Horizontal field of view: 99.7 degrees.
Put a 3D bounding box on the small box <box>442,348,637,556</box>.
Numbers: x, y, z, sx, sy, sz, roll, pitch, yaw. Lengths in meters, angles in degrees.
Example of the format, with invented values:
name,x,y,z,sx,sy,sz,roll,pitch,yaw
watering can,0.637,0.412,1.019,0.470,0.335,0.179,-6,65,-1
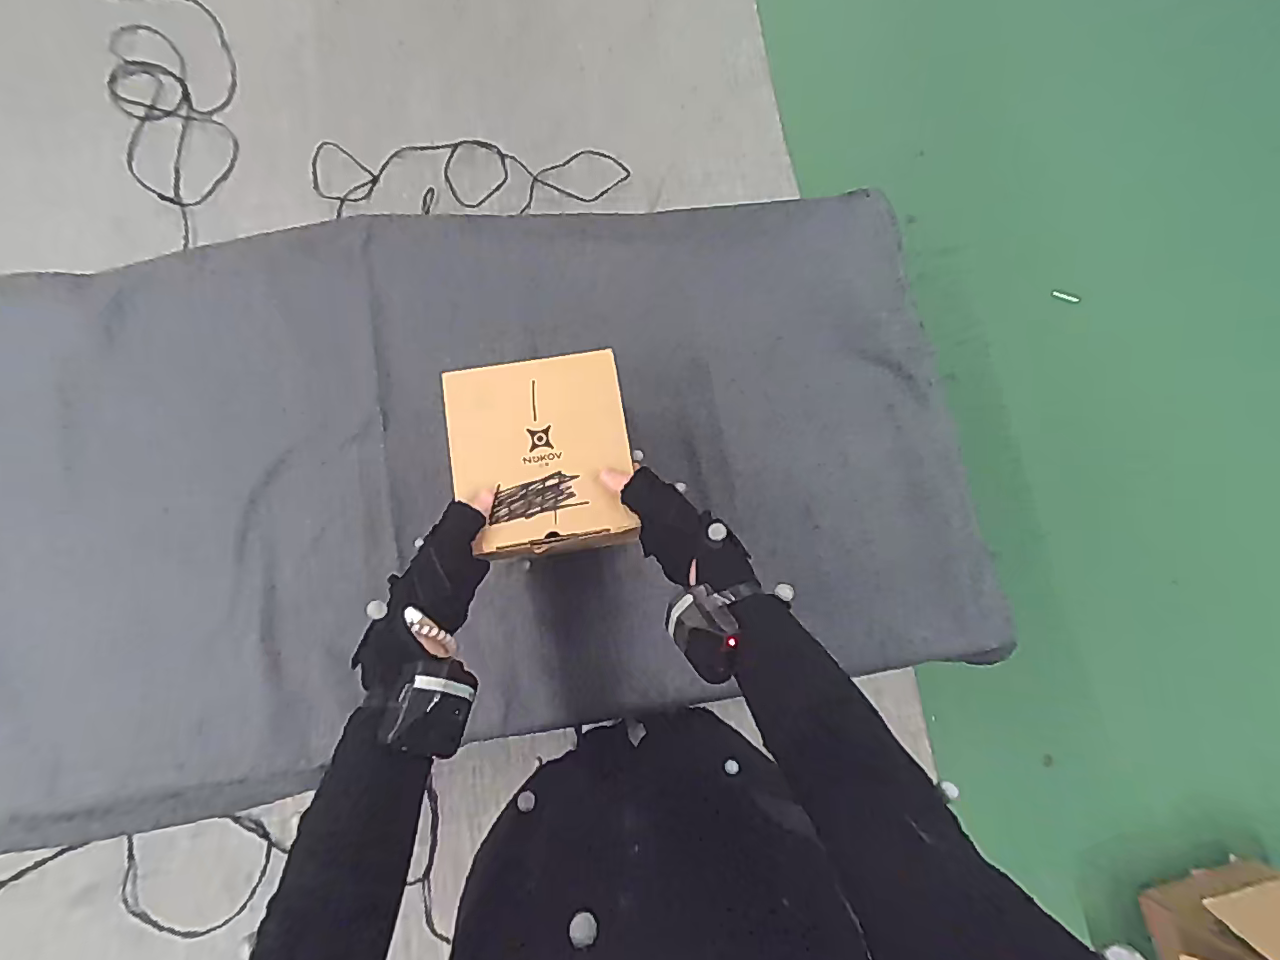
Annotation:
name,x,y,z,sx,sy,sz,roll,pitch,yaw
small box,-0.096,-0.016,0.577,0.168,0.176,0.179,-9,79,-4
